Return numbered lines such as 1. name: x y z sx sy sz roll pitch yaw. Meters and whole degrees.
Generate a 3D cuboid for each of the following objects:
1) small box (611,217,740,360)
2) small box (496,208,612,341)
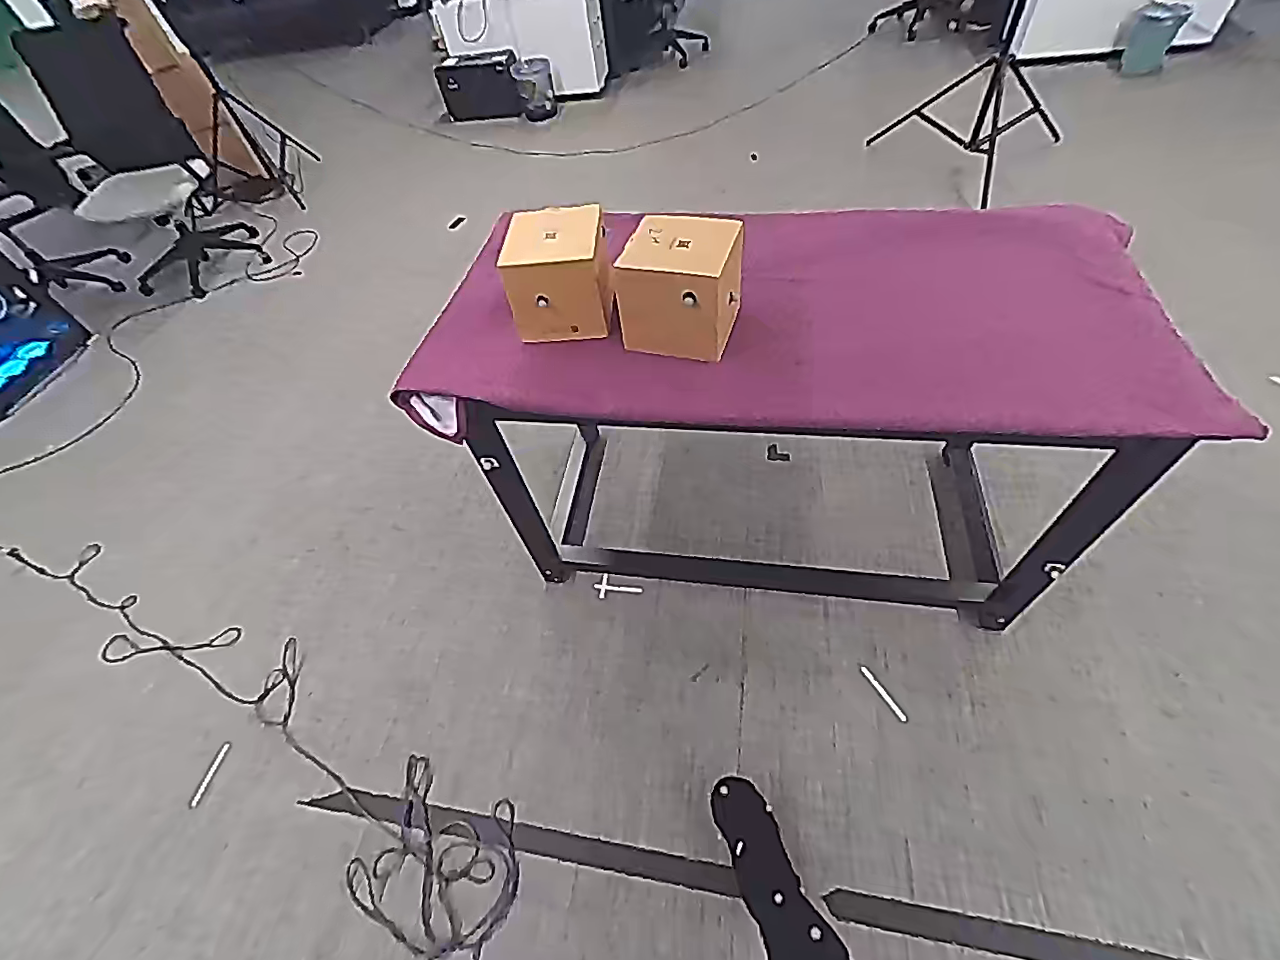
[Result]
1. small box: 0.069 -0.329 0.939 0.179 0.176 0.168 11 54 17
2. small box: -0.149 -0.374 1.007 0.168 0.176 0.179 -3 53 6
